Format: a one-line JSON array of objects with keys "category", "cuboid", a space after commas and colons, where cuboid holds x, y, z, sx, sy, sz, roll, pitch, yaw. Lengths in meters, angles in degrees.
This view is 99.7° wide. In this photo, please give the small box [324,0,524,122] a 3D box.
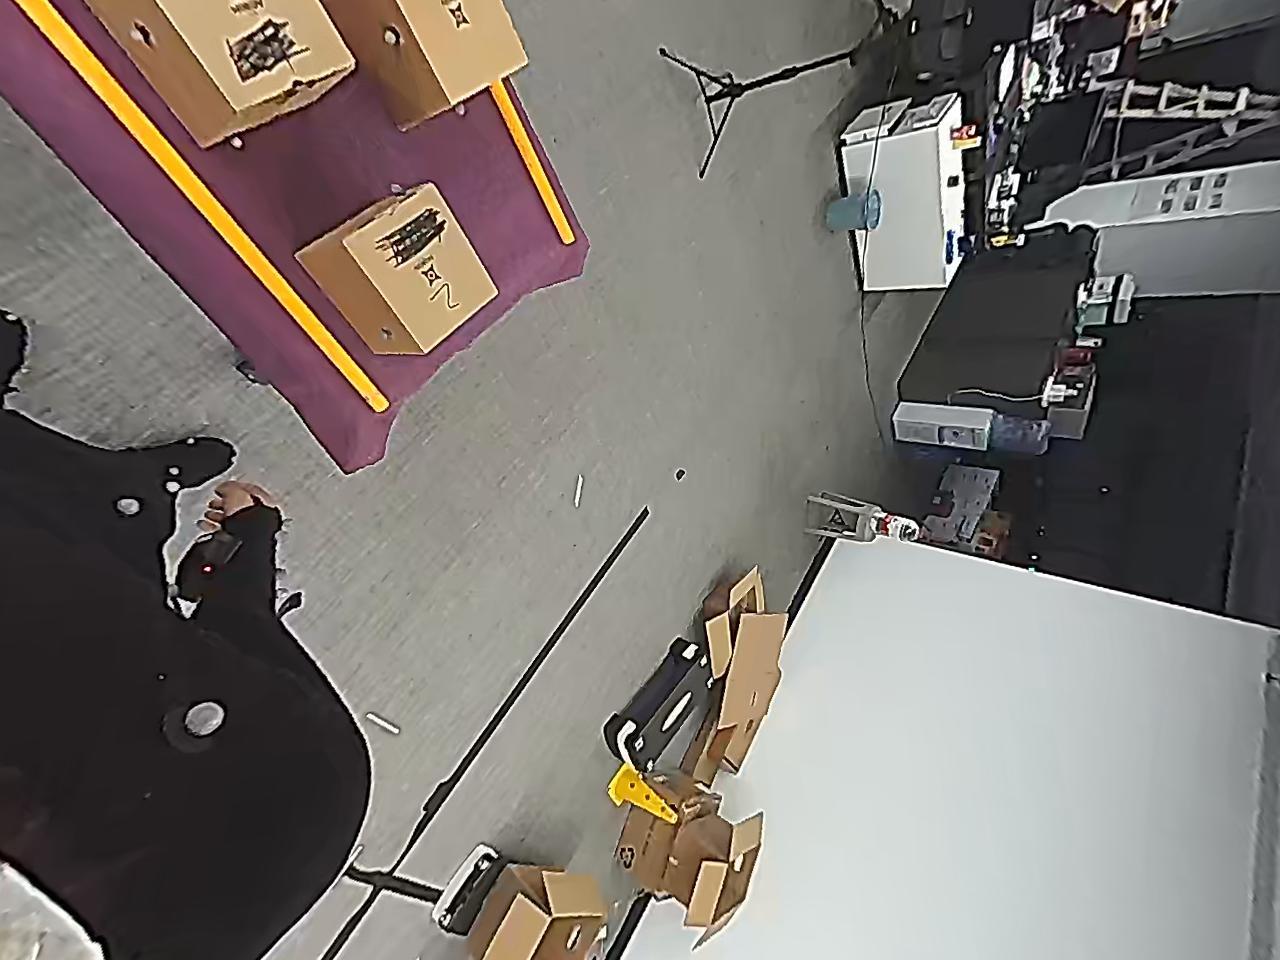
[{"category": "small box", "cuboid": [-0.311, -0.654, 0.787, 0.168, 0.176, 0.179, -51, 133, -25]}]

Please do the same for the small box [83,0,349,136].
[{"category": "small box", "cuboid": [-0.487, -0.525, 0.621, 0.168, 0.176, 0.179, -52, 133, -28]}]
